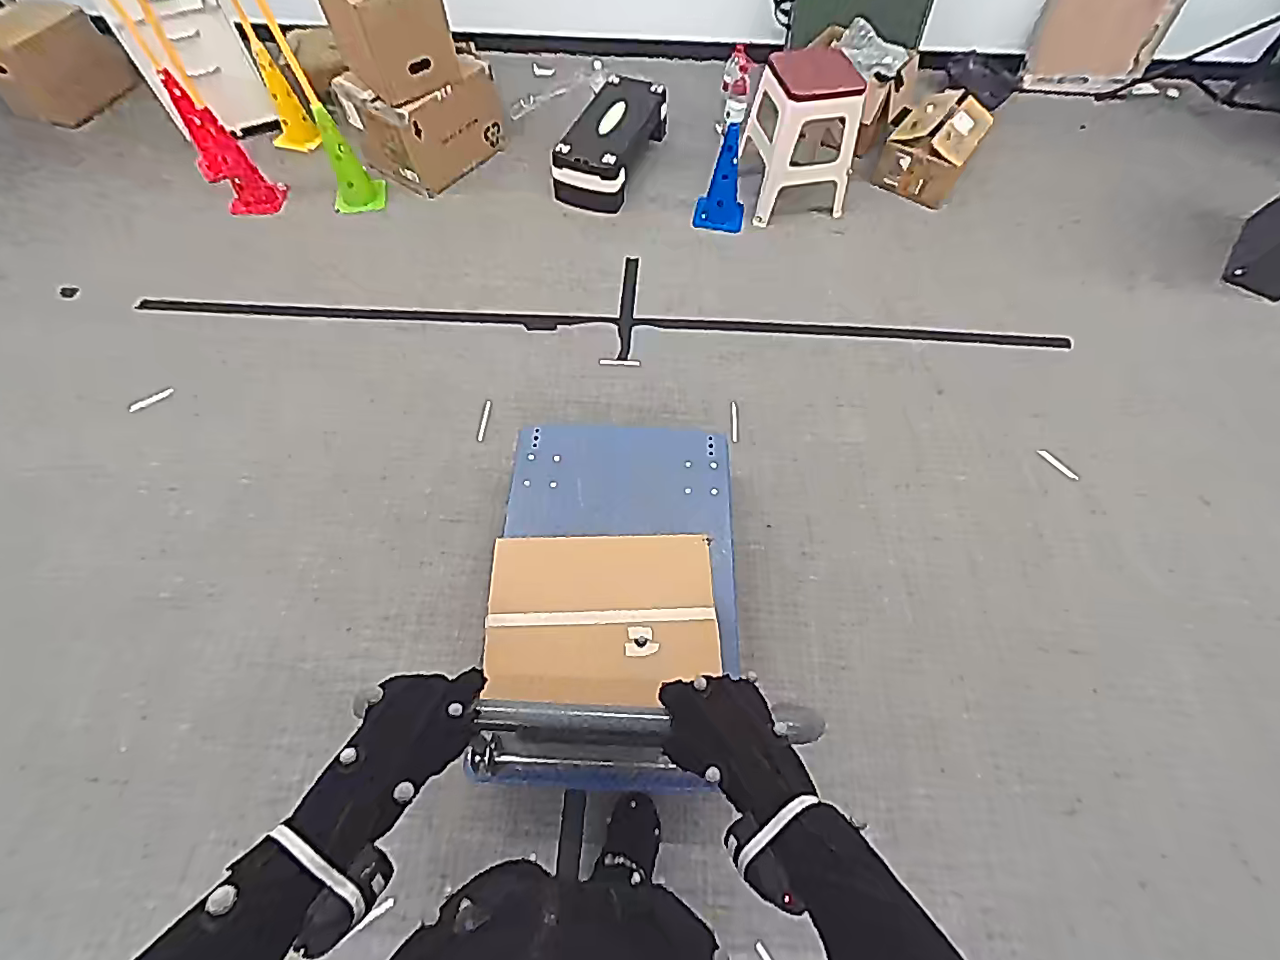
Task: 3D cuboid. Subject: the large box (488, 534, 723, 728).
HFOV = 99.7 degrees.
[{"bbox_3d":[-0.071,0.318,1.107,0.408,0.320,0.320,0,61,-3],"label":"large box"}]
